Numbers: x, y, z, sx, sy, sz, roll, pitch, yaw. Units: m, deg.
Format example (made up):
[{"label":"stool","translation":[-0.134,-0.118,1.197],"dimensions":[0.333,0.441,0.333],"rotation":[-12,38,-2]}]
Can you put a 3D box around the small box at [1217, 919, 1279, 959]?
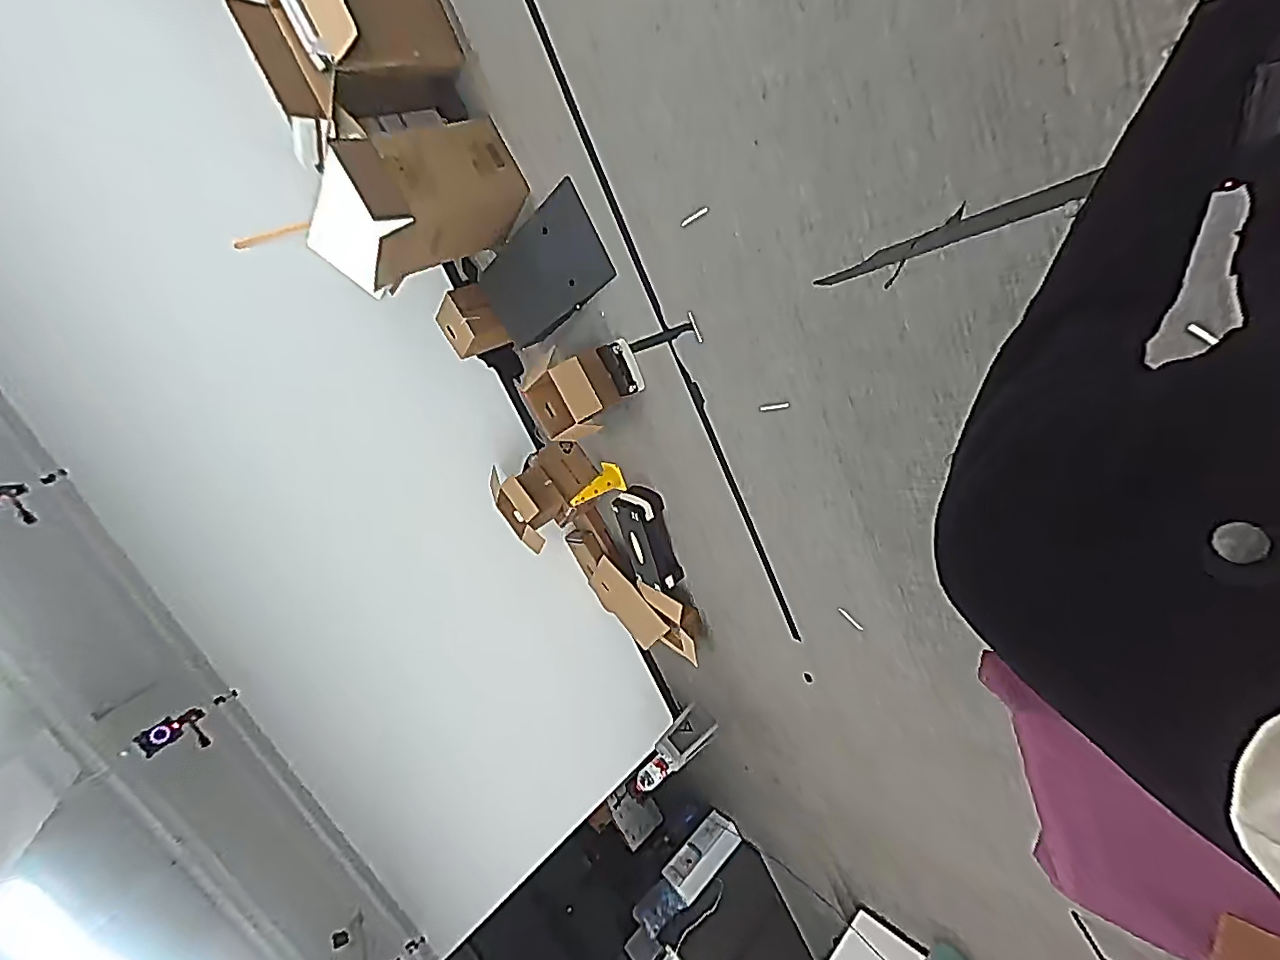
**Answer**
[{"label":"small box","translation":[1.107,0.912,0.914],"dimensions":[0.179,0.176,0.168],"rotation":[0,117,56]}]
